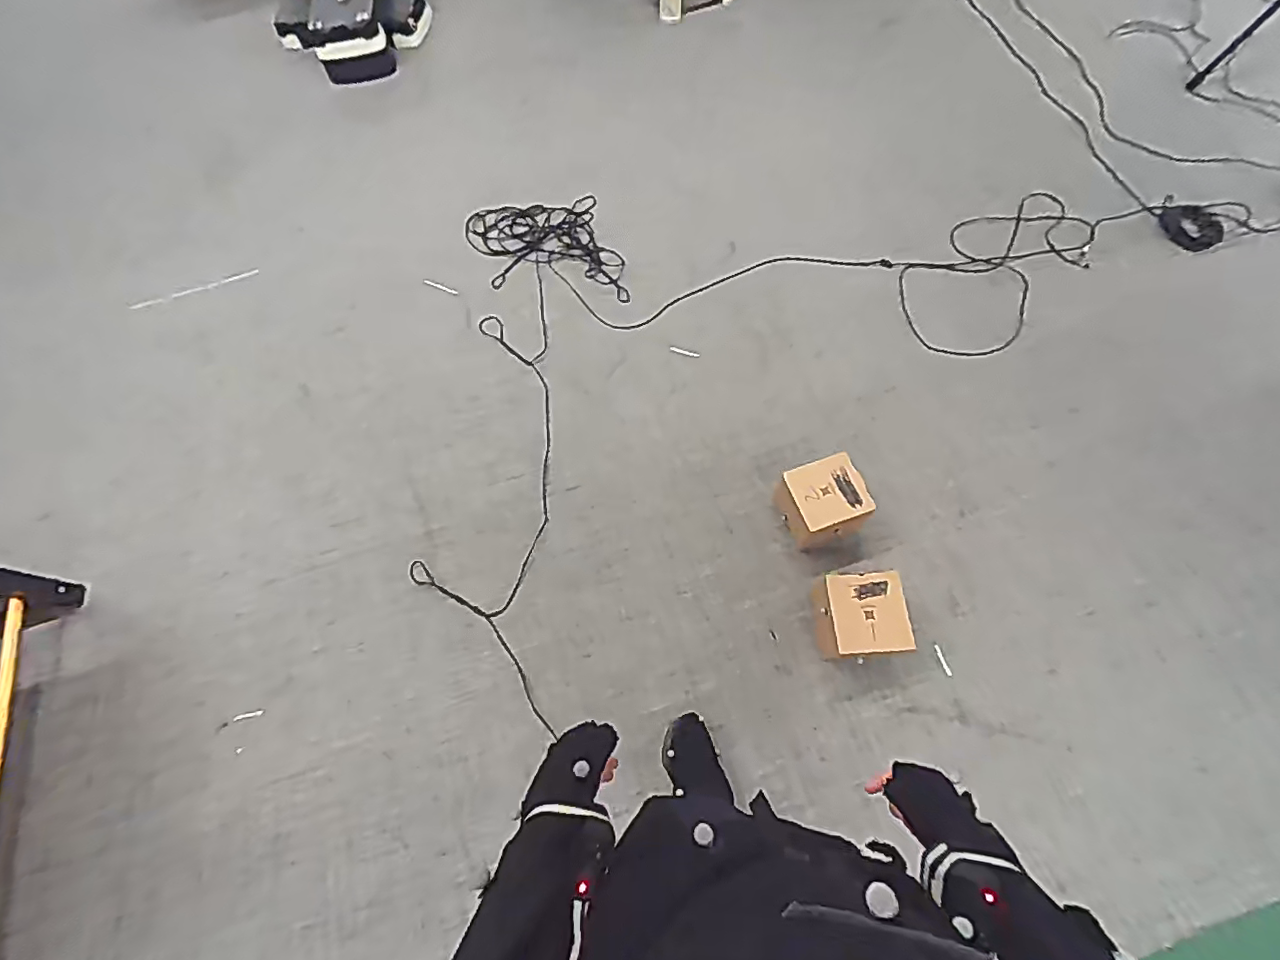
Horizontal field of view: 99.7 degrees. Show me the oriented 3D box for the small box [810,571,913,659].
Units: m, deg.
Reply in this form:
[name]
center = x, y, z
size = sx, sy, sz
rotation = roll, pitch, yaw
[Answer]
[small box]
center = 0.508, 0.321, 1.271
size = 0.168, 0.176, 0.179
rotation = -4, 68, 3
